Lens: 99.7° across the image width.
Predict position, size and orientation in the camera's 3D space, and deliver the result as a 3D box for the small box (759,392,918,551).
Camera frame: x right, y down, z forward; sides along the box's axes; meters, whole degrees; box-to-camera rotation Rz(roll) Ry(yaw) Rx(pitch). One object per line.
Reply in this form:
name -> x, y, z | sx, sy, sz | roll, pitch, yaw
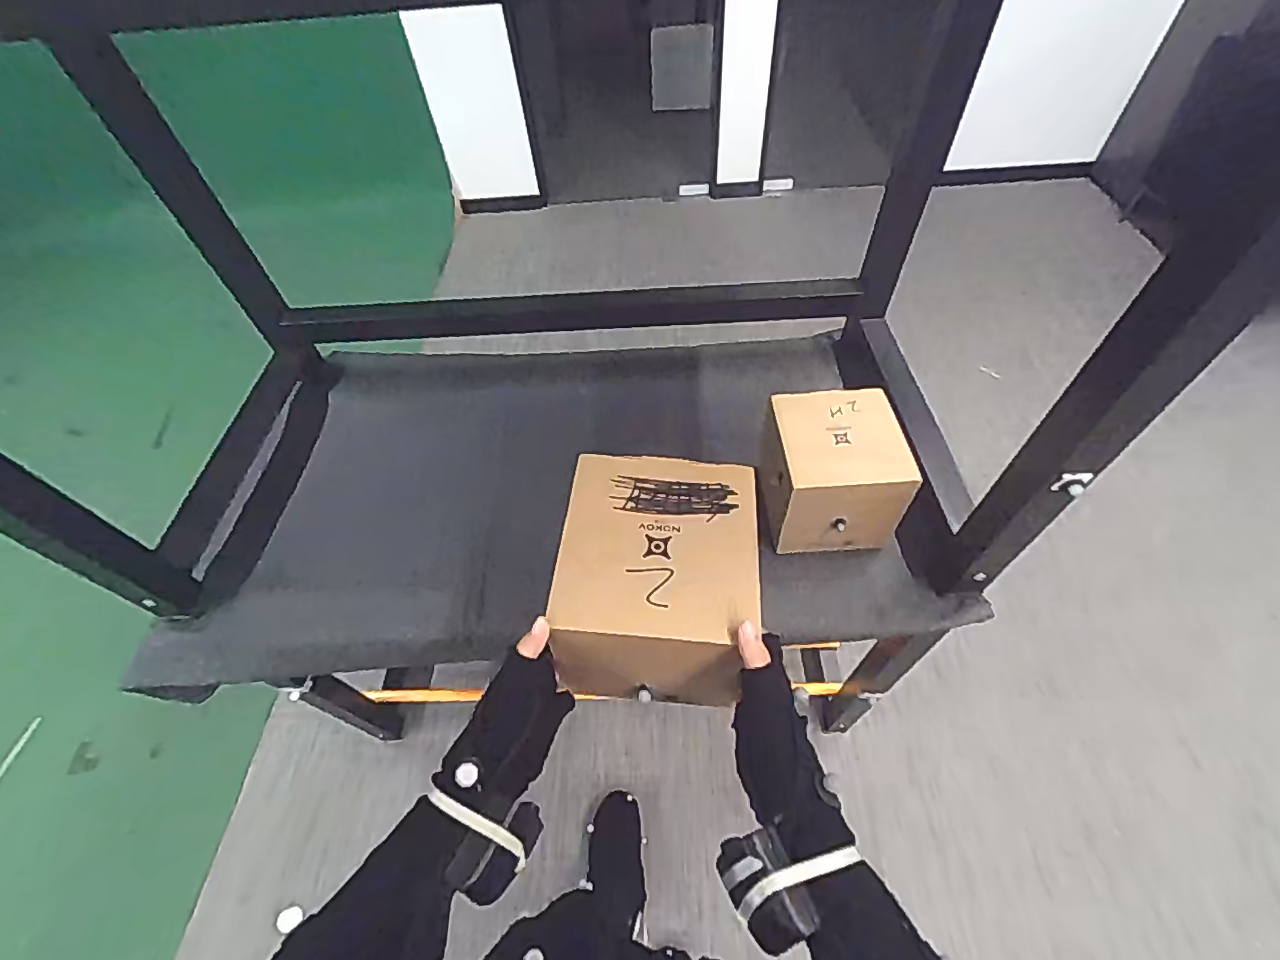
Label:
small box -> 0.279, -0.005, 0.806 | 0.168, 0.176, 0.179 | -4, 51, 2
